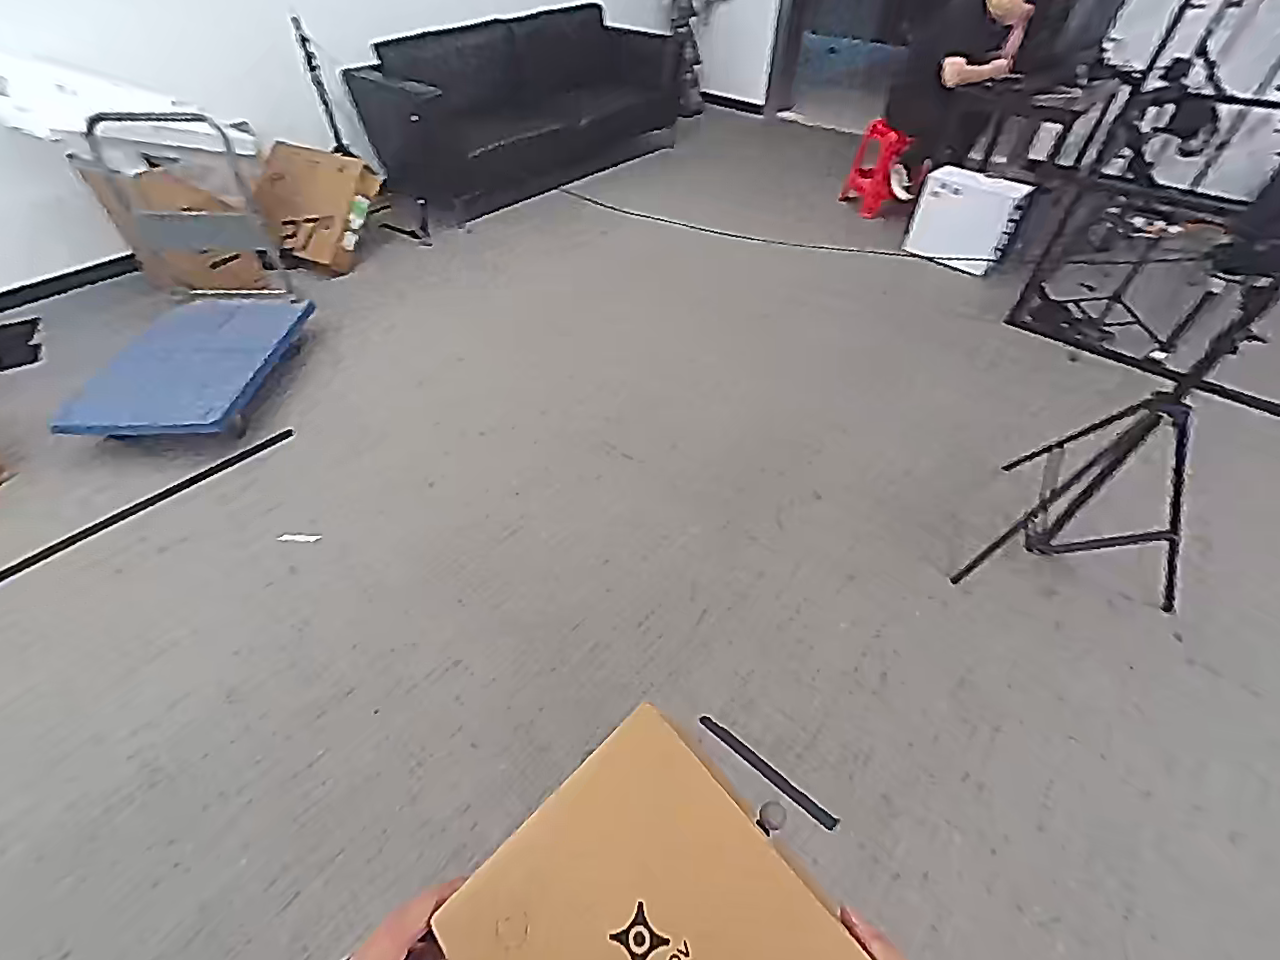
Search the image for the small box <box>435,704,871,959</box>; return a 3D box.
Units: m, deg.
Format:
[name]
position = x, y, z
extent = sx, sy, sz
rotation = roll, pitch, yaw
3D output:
[small box]
position = 0.011, 0.277, 0.347
extent = 0.168, 0.176, 0.179
rotation = -42, 66, -13
